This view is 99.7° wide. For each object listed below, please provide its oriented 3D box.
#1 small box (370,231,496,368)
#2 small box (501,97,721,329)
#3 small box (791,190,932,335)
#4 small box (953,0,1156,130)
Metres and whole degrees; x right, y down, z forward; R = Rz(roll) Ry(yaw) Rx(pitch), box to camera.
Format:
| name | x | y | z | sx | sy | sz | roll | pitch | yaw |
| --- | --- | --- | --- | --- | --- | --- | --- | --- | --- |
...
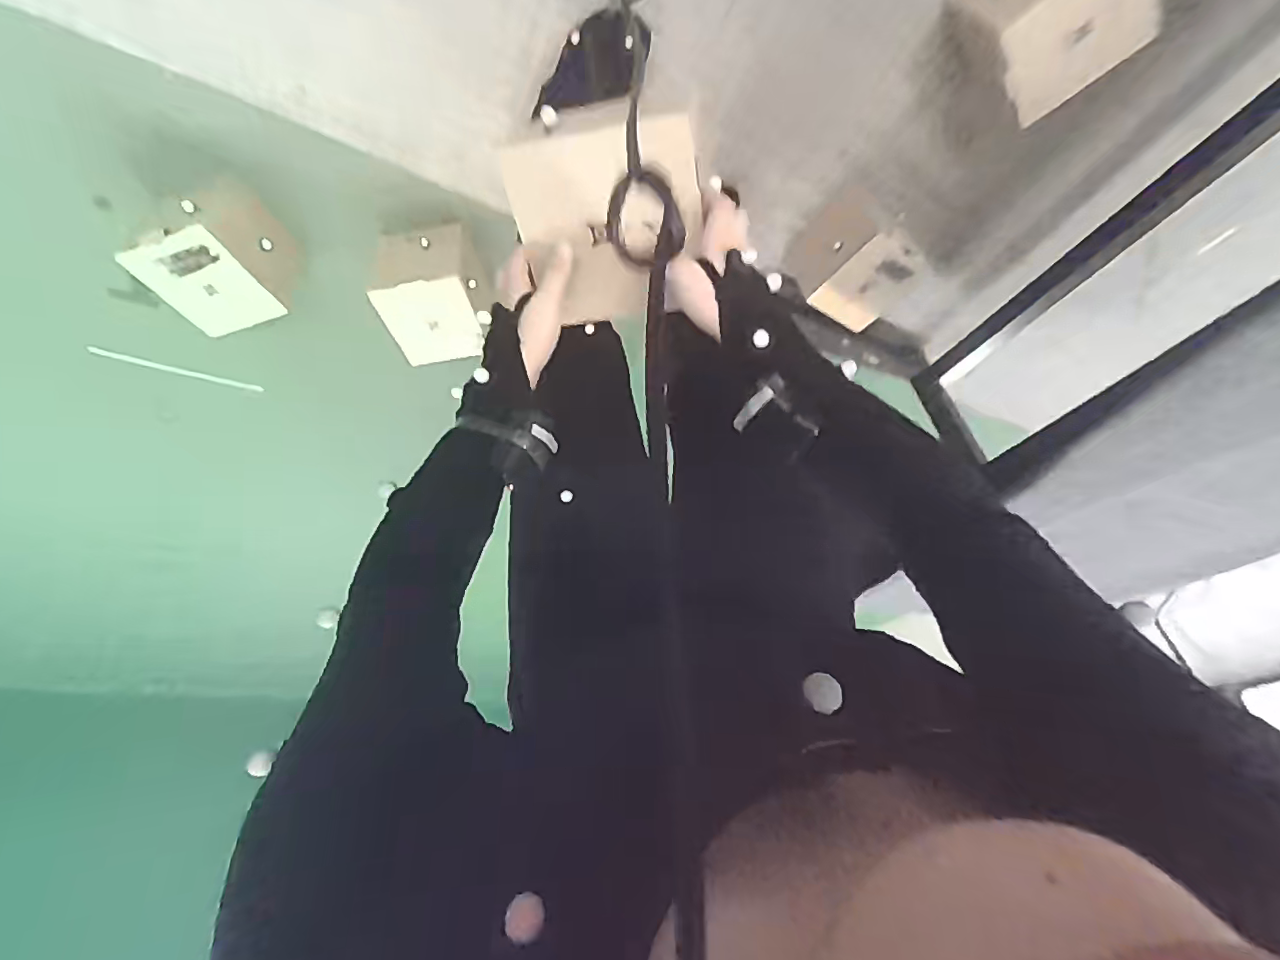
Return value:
| name | x | y | z | sx | sy | sz | roll | pitch | yaw |
| --- | --- | --- | --- | --- | --- | --- | --- | --- | --- |
| small box | -0.387 | -0.348 | 1.048 | 0.168 | 0.176 | 0.179 | -9 | 143 | 3 |
| small box | -0.012 | -0.275 | 0.557 | 0.179 | 0.176 | 0.168 | -3 | 130 | 13 |
| small box | 0.430 | -0.433 | 1.076 | 0.168 | 0.176 | 0.179 | 17 | 138 | -29 |
| small box | 0.585 | -0.668 | 0.783 | 0.179 | 0.176 | 0.168 | -33 | 138 | 29 |
